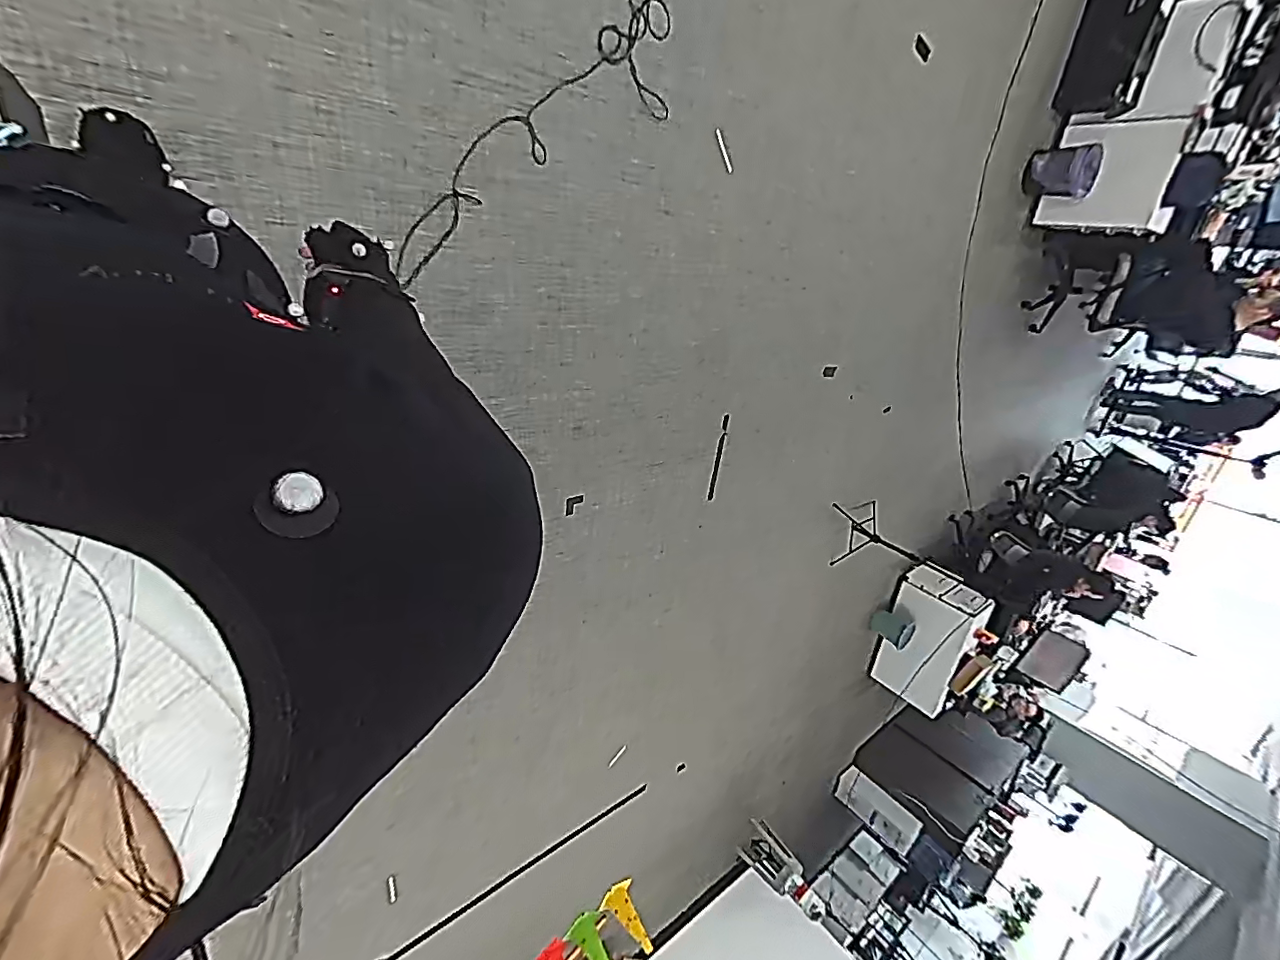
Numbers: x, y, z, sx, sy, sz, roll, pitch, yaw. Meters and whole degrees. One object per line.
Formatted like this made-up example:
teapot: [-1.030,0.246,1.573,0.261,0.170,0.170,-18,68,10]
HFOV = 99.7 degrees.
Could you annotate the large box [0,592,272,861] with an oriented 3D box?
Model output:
large box: [-1.085,0.501,1.189,0.408,0.320,0.320,-11,118,-36]
